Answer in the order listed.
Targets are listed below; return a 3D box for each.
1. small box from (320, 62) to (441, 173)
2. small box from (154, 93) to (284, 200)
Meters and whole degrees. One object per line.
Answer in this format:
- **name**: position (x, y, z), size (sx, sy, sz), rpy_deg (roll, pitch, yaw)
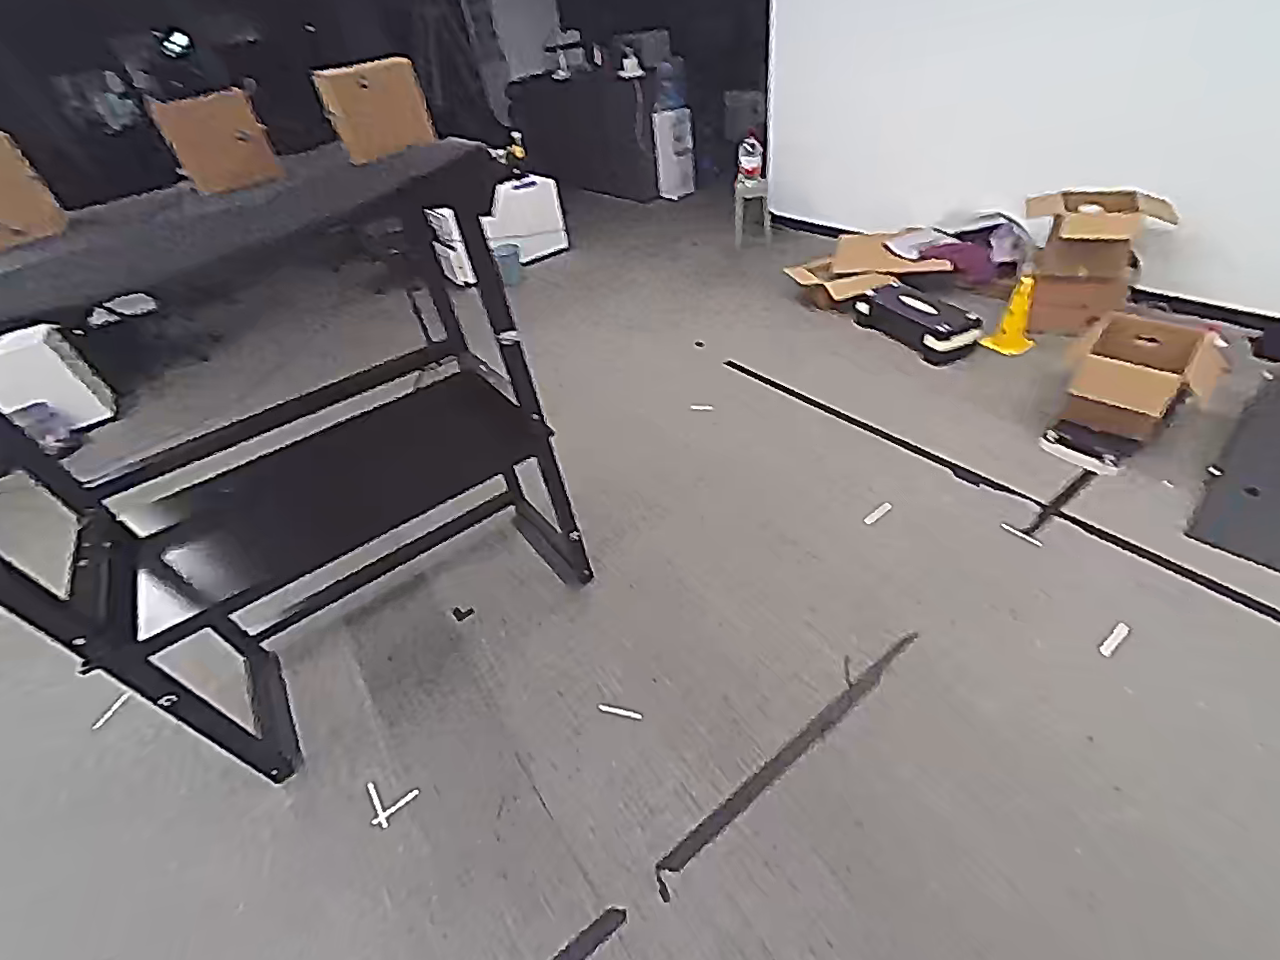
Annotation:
- **small box**: position (-0.553, -0.774, 1.161), size (0.168, 0.176, 0.179), rpy_deg (-28, 43, -19)
- **small box**: position (-0.928, -0.748, 1.209), size (0.179, 0.176, 0.168), rpy_deg (-29, 44, -21)
